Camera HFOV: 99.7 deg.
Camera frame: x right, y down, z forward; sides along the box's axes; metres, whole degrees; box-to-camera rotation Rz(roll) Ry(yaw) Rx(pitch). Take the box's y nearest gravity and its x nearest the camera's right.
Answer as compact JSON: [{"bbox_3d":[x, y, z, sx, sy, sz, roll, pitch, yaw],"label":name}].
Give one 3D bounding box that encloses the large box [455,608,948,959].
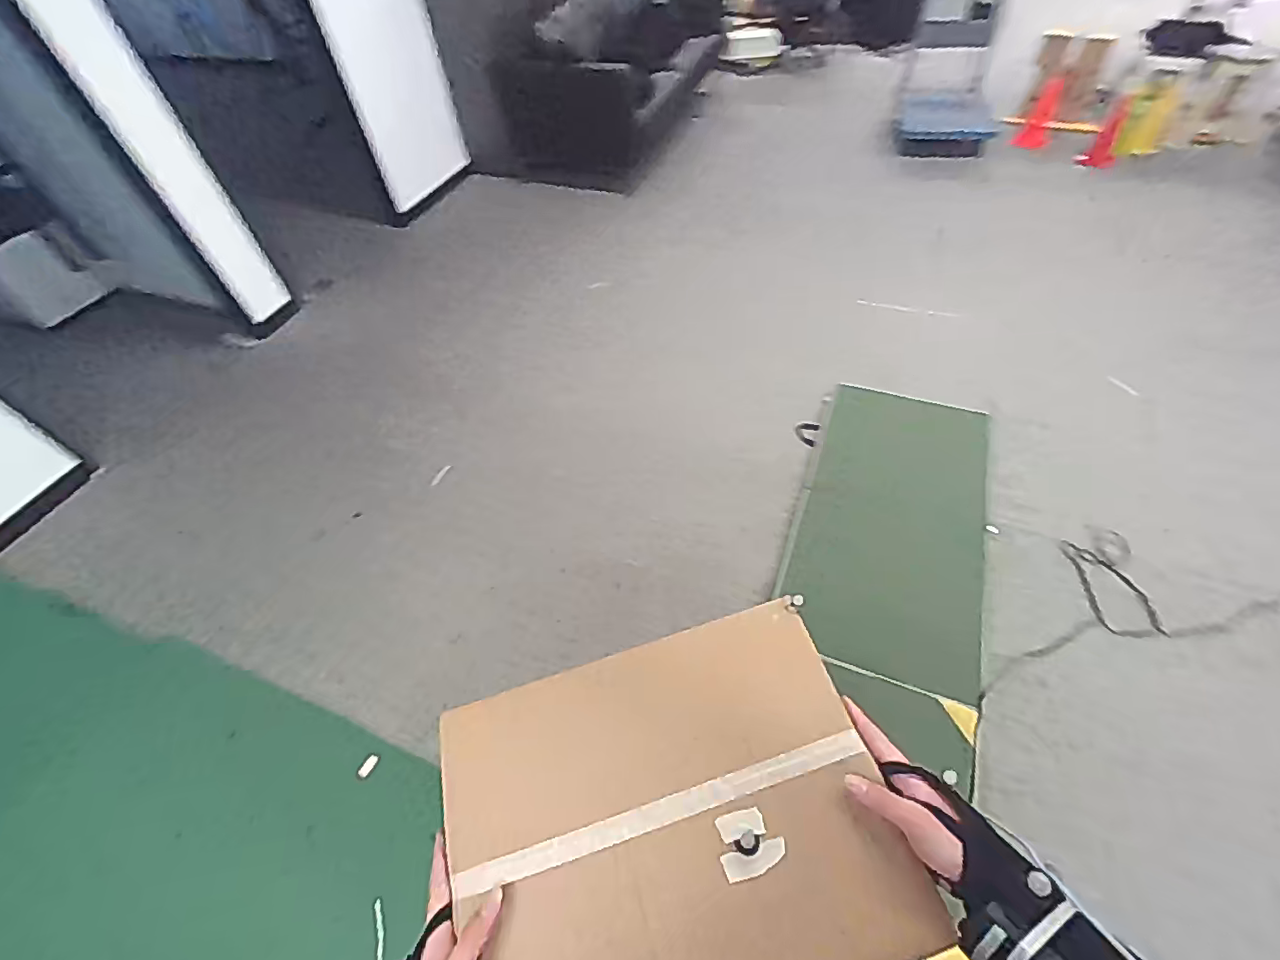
[{"bbox_3d":[0.045,0.407,0.637,0.408,0.320,0.320,-17,55,-4],"label":"large box"}]
